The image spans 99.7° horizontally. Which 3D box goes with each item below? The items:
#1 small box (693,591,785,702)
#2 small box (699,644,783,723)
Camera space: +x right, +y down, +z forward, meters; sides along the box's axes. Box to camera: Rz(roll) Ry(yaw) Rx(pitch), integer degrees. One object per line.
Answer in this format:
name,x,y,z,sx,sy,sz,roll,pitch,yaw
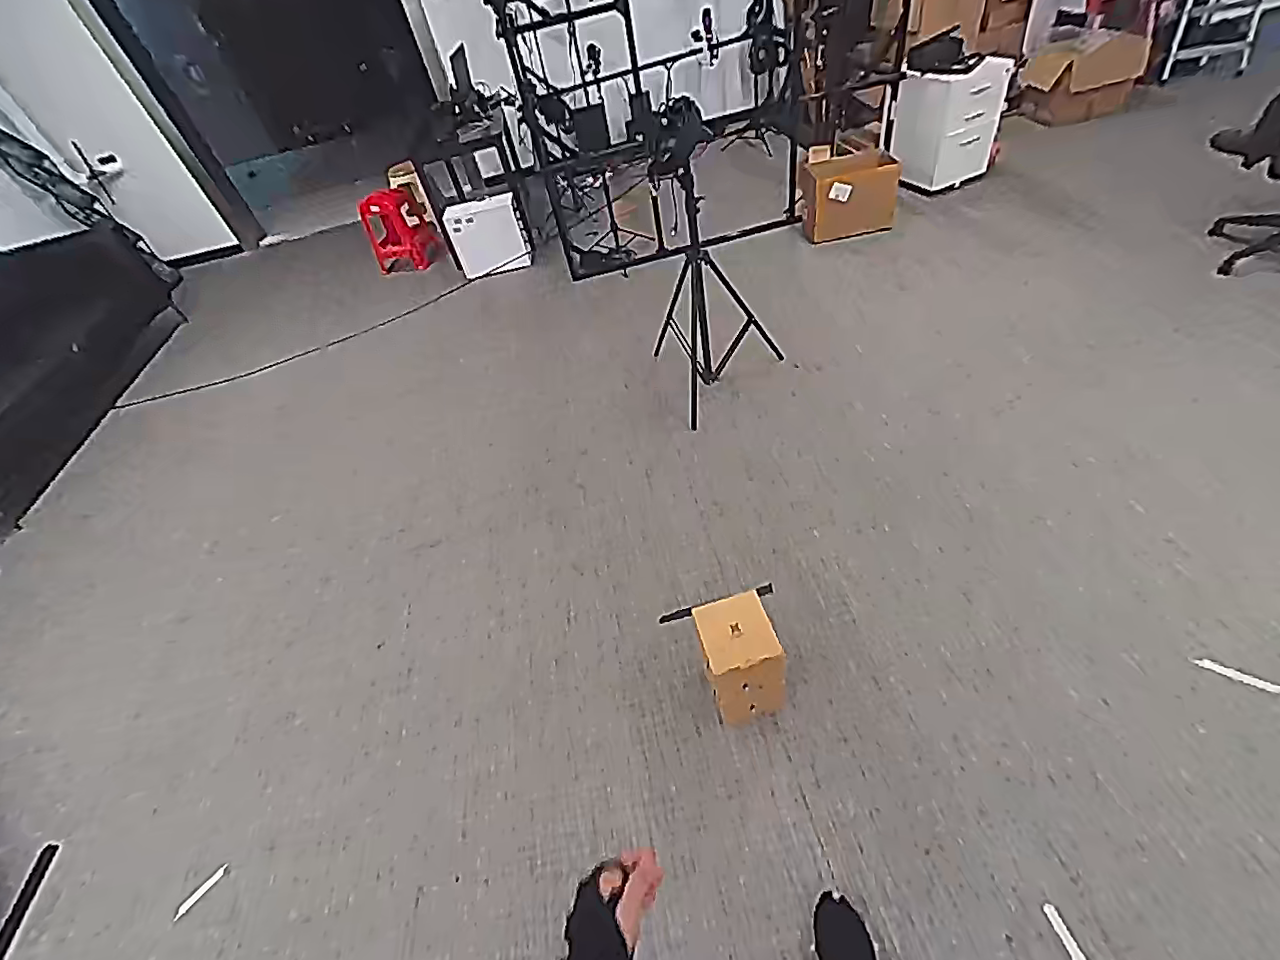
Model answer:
small box,0.235,0.401,1.299,0.168,0.176,0.179,-17,46,-2
small box,0.265,0.512,1.414,0.168,0.176,0.179,-17,45,-3
